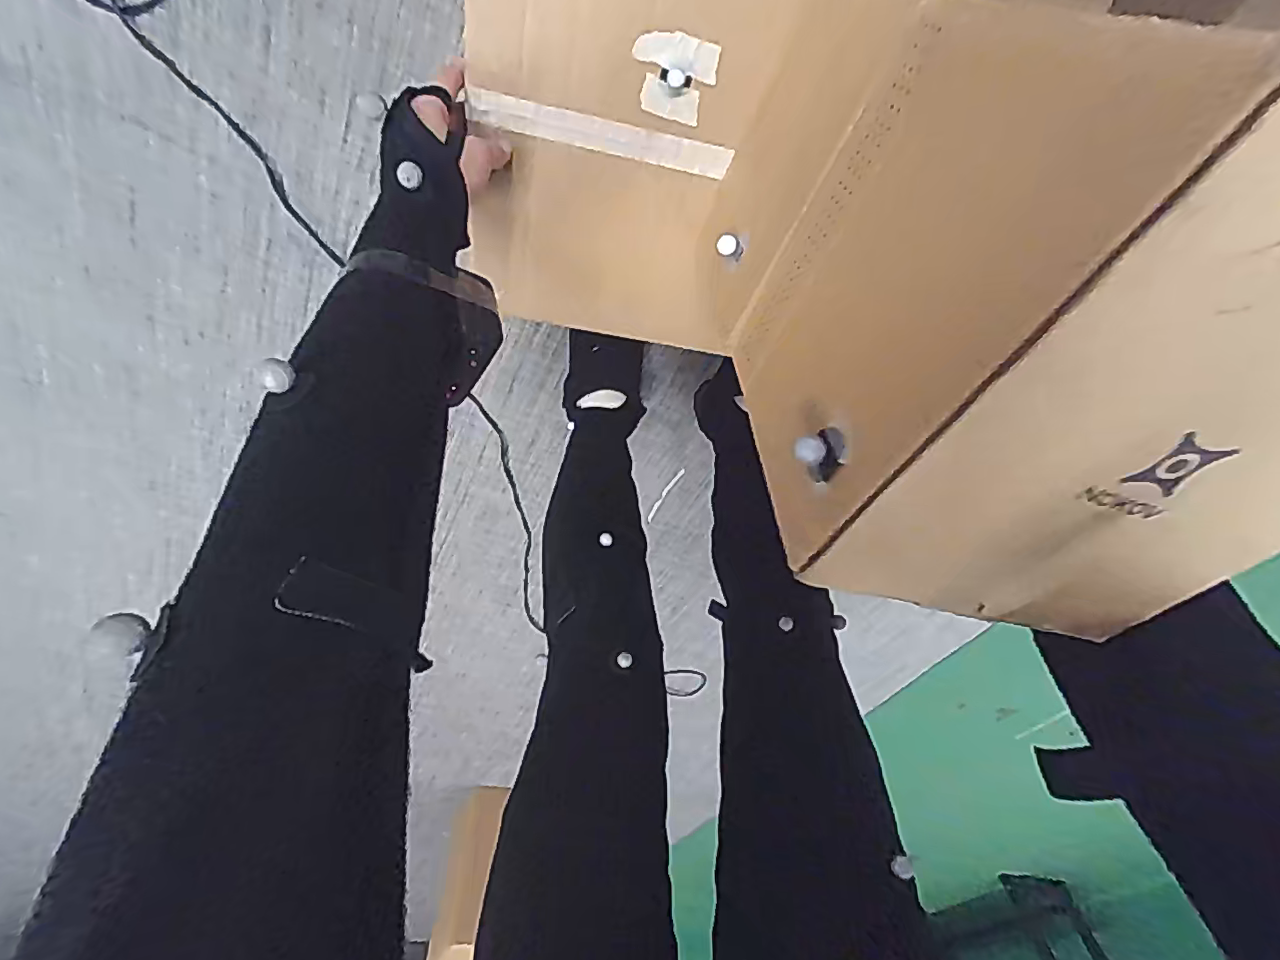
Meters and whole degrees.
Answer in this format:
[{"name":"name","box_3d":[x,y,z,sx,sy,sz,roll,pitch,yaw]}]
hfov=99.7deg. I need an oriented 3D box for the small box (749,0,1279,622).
[{"name":"small box","box_3d":[0.163,-0.067,0.230,0.168,0.176,0.179,14,133,-15]}]
